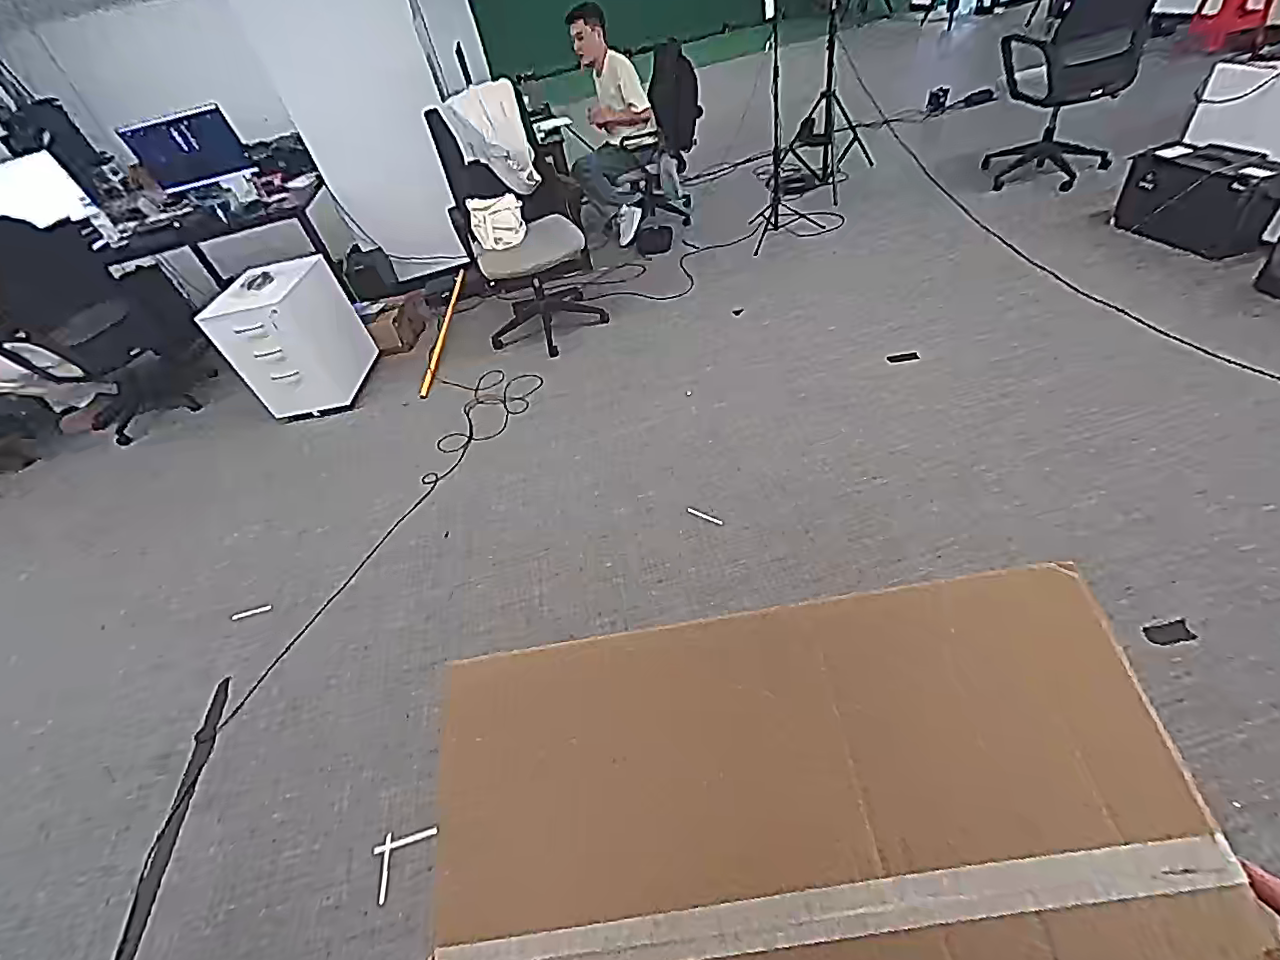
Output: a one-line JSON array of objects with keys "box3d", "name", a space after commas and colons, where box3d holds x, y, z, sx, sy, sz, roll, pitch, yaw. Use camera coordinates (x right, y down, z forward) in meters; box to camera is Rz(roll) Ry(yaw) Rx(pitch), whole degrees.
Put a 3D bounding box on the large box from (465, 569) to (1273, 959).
[{"box3d": [0.116, 0.292, 0.417, 0.408, 0.320, 0.320, -10, 64, 3], "name": "large box"}]
